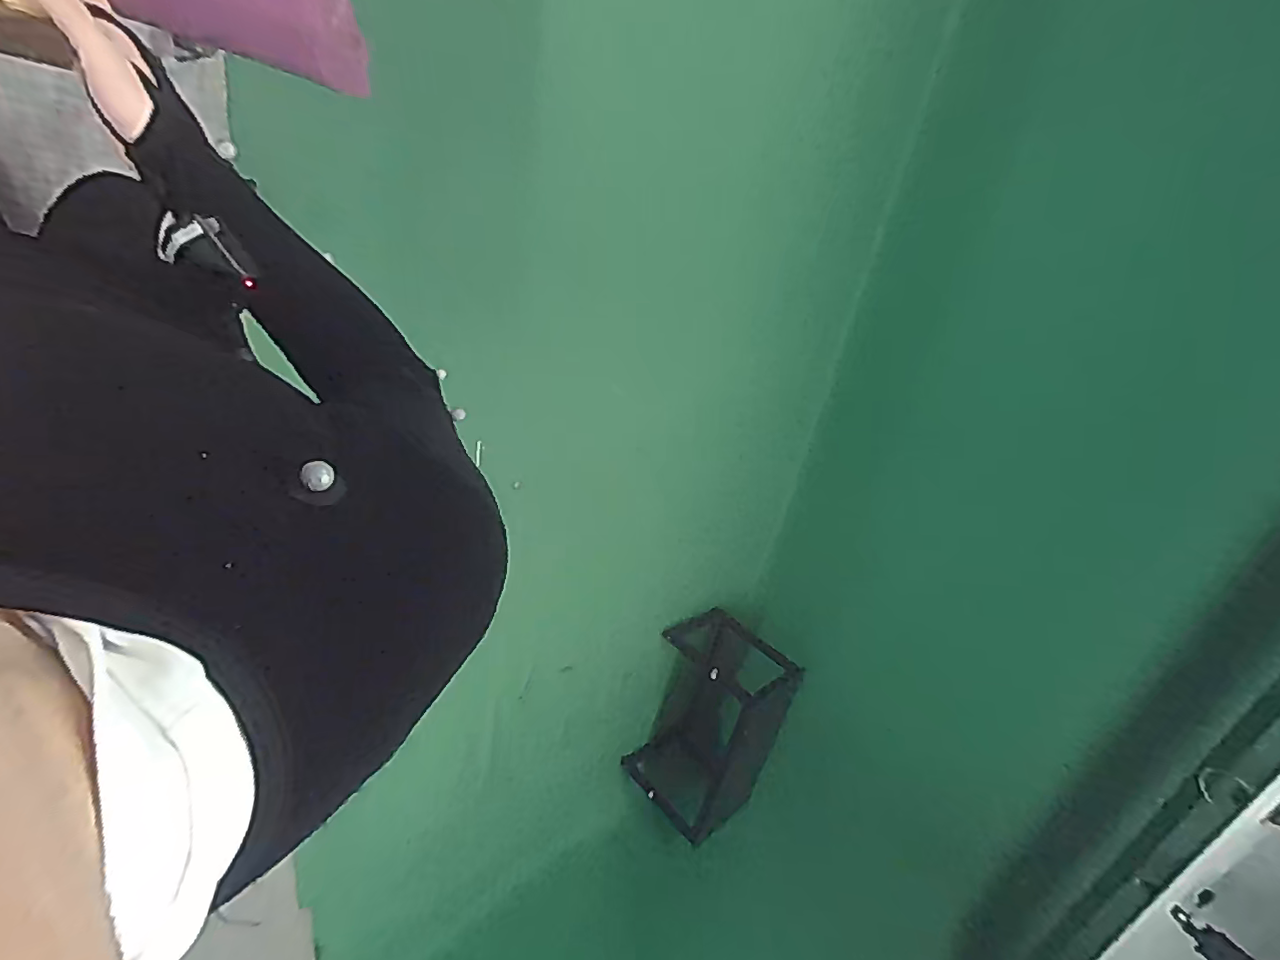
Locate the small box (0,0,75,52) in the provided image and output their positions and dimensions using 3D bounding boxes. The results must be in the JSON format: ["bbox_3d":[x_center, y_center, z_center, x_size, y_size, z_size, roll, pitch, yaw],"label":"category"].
[{"bbox_3d":[-0.502,-0.416,0.348,0.168,0.176,0.179,-12,117,-40],"label":"small box"}]
